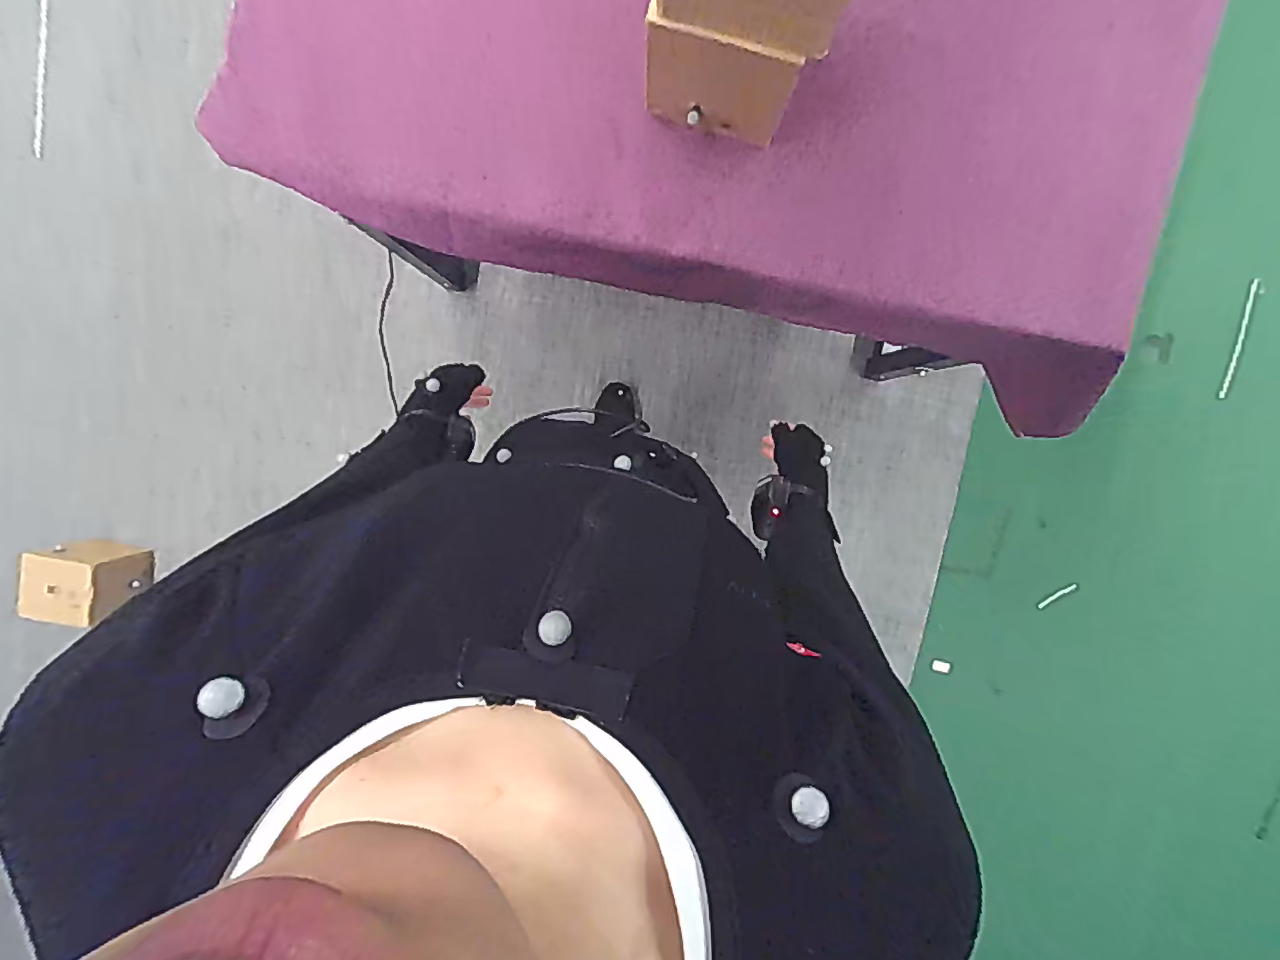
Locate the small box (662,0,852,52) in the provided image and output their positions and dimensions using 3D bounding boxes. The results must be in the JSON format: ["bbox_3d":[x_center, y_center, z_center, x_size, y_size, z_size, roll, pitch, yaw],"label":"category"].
[{"bbox_3d":[0.118,-0.503,0.442,0.179,0.176,0.168,14,95,-1],"label":"small box"}]

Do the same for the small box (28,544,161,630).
[{"bbox_3d":[-1.418,0.272,1.412,0.179,0.176,0.168,10,96,-1],"label":"small box"}]

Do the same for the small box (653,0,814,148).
[{"bbox_3d":[0.112,-0.518,0.603,0.168,0.176,0.179,15,96,-1],"label":"small box"}]
